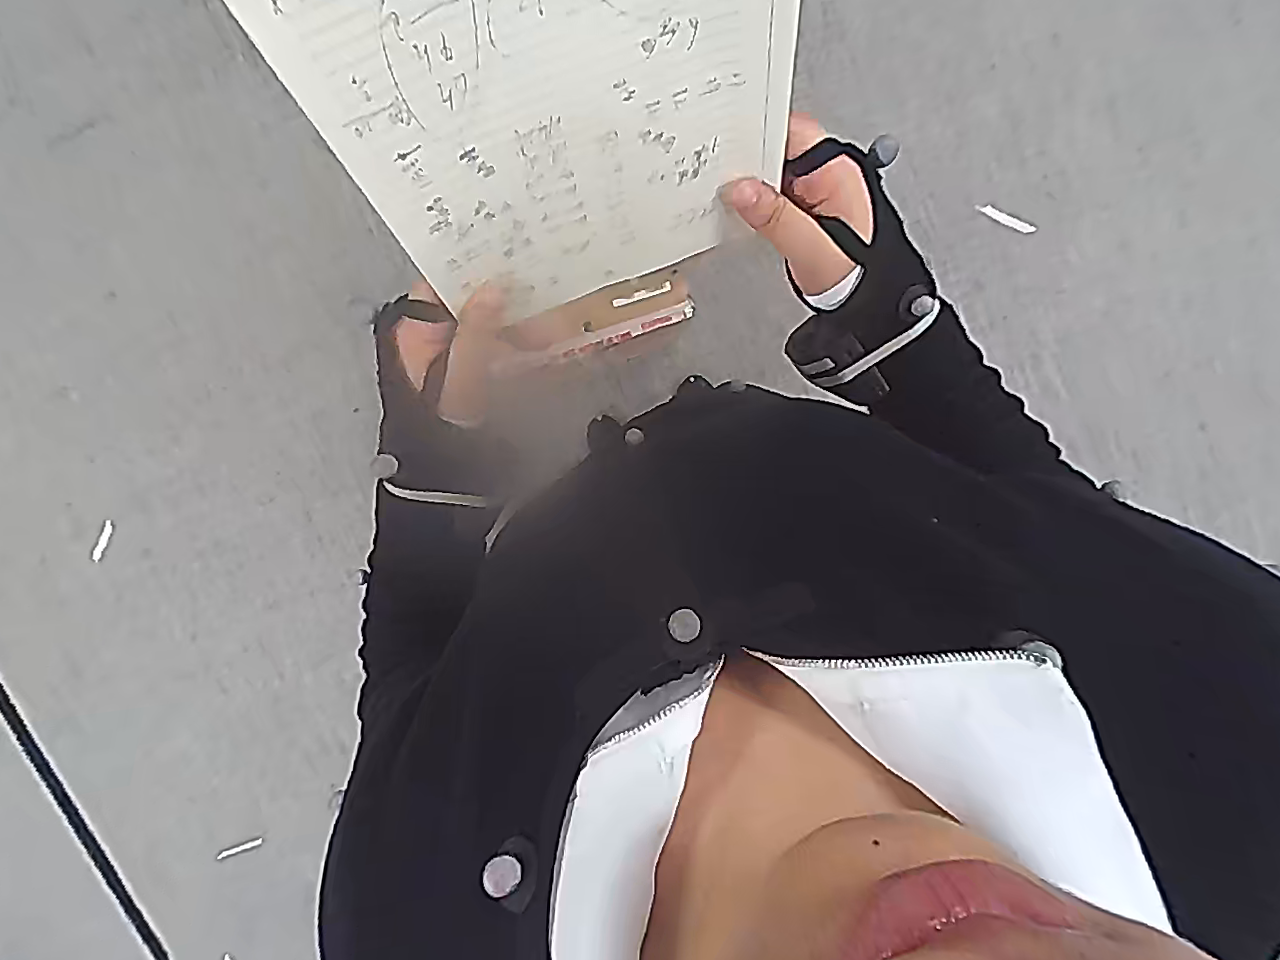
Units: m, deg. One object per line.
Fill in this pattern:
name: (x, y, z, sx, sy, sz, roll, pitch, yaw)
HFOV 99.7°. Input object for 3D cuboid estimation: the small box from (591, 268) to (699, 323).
small box: (-0.020, -0.369, 0.881, 0.179, 0.176, 0.168, -19, 99, 1)

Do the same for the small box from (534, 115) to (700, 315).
small box: (-0.031, -0.335, 0.719, 0.168, 0.176, 0.179, -15, 100, 0)
